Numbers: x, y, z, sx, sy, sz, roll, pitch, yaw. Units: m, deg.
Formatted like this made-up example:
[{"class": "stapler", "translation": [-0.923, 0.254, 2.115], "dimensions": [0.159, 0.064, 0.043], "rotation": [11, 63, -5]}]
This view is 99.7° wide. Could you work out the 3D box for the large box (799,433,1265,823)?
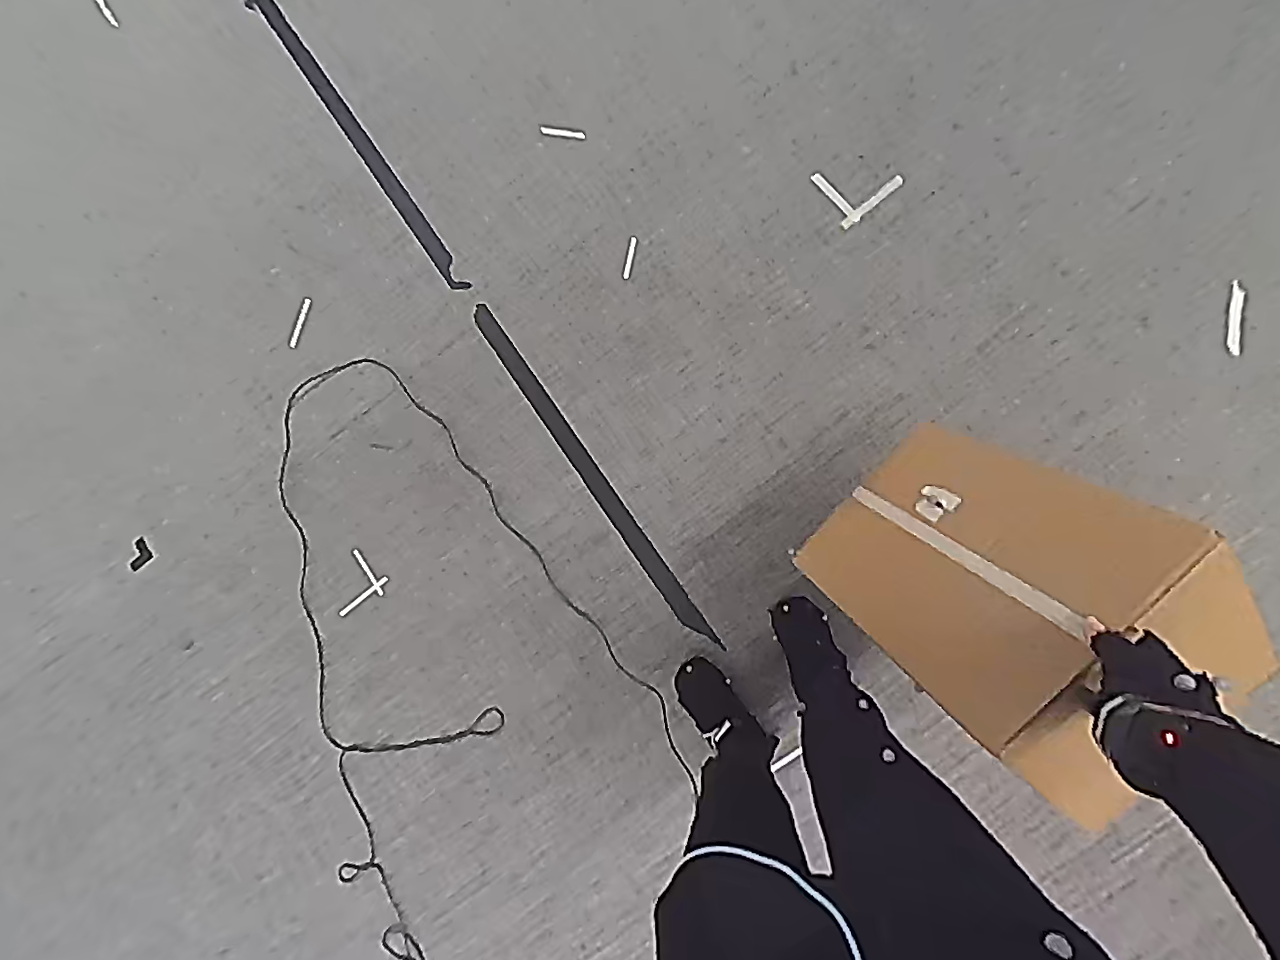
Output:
[{"class": "large box", "translation": [0.528, 0.187, 0.796], "dimensions": [0.320, 0.408, 0.320], "rotation": [40, 96, -27]}]
